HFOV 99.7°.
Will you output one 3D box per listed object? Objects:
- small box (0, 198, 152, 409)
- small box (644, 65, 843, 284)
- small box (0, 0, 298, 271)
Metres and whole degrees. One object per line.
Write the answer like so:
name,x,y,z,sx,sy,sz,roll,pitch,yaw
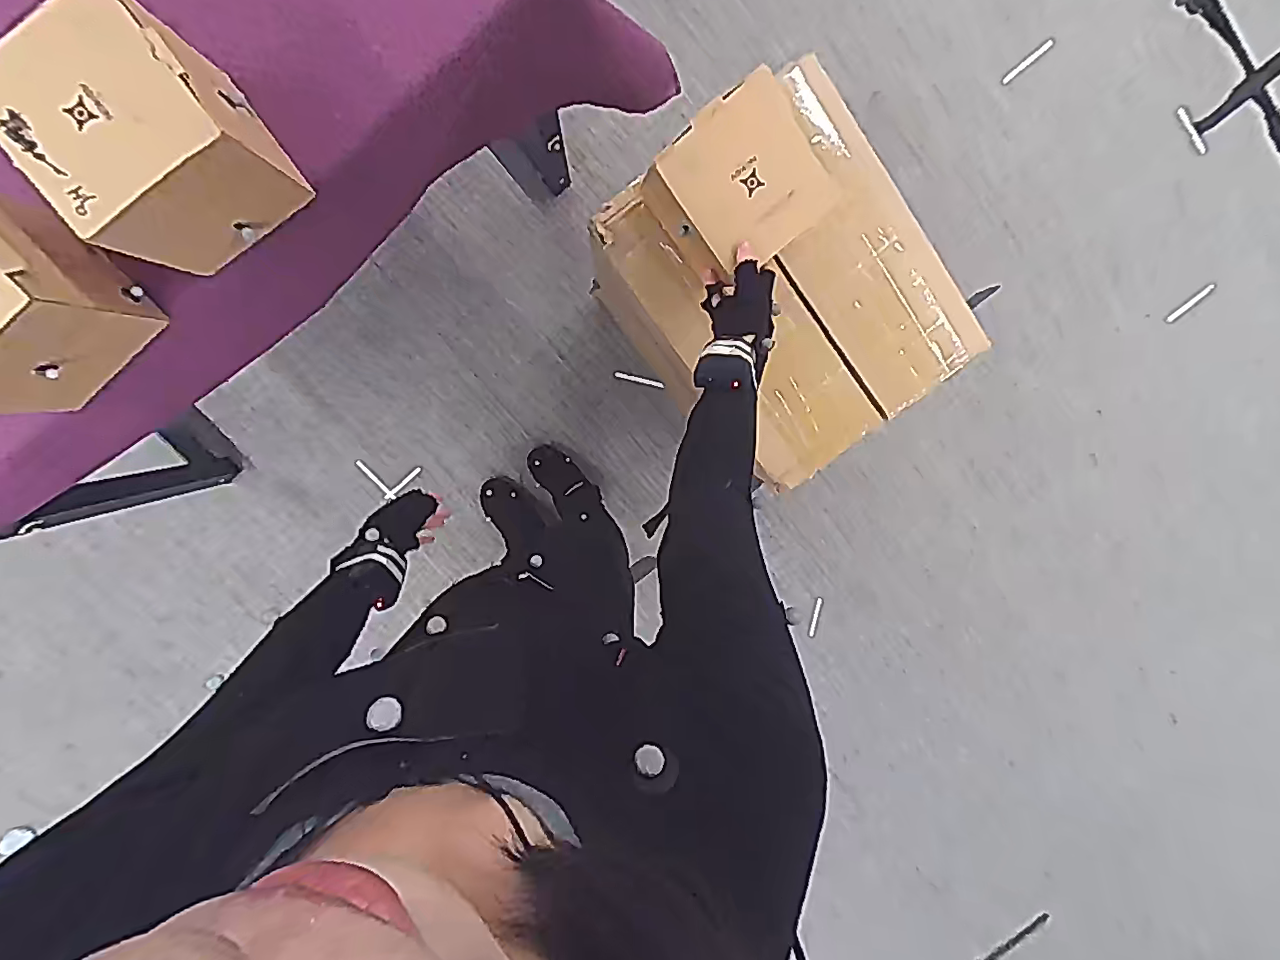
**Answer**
small box,-0.700,-0.193,0.589,0.179,0.176,0.168,-40,98,4
small box,0.122,-0.377,0.711,0.168,0.176,0.179,-39,108,7
small box,-0.509,-0.356,0.578,0.179,0.176,0.168,-35,99,1
